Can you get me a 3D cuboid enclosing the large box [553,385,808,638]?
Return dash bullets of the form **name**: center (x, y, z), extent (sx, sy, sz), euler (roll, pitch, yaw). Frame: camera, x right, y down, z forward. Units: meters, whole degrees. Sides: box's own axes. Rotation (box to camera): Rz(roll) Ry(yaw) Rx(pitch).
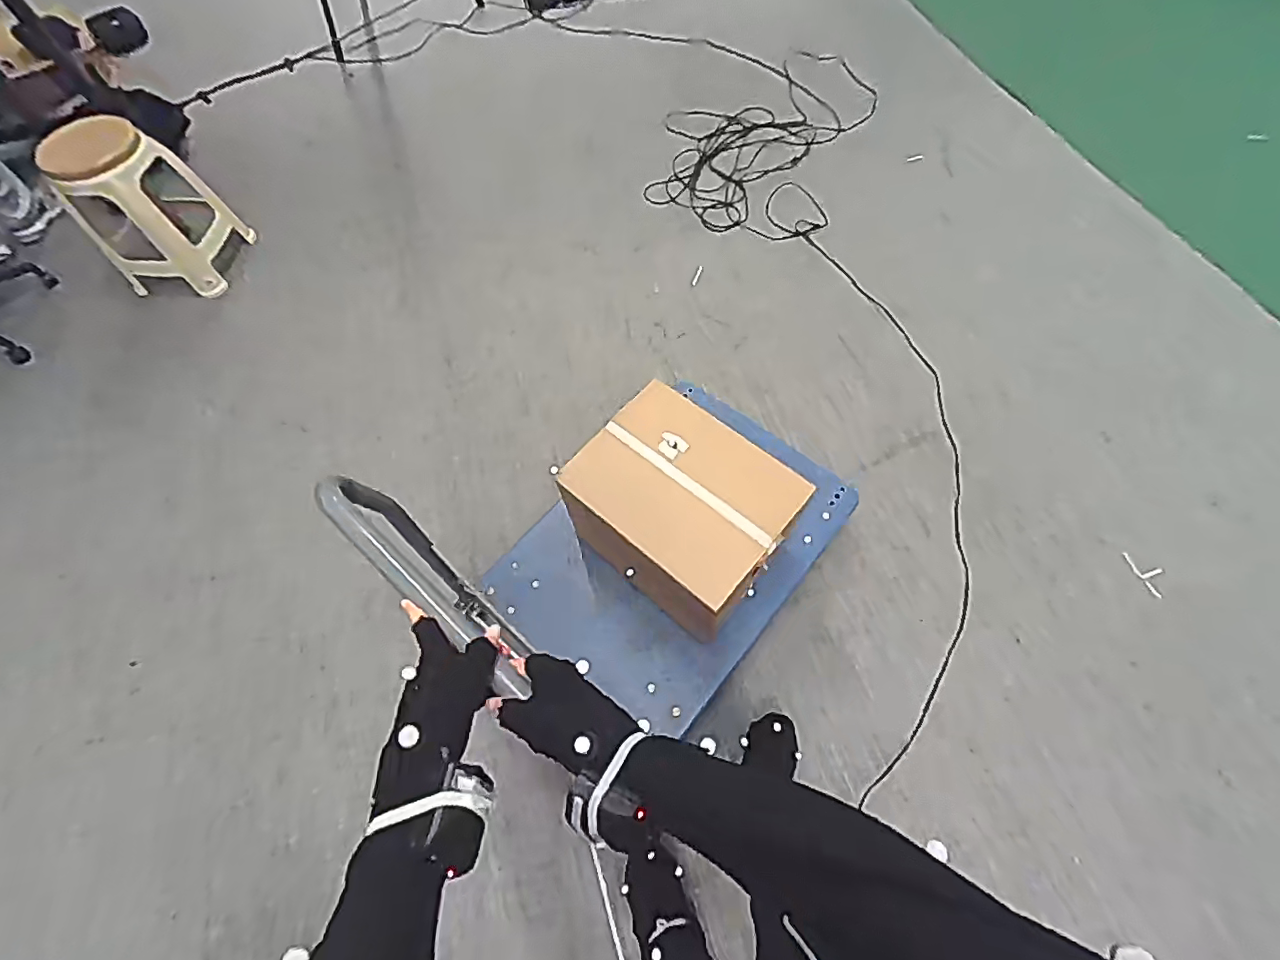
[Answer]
- **large box**: center (0.085, 0.077, 1.178), extent (0.408, 0.320, 0.320), euler (37, 70, 20)
